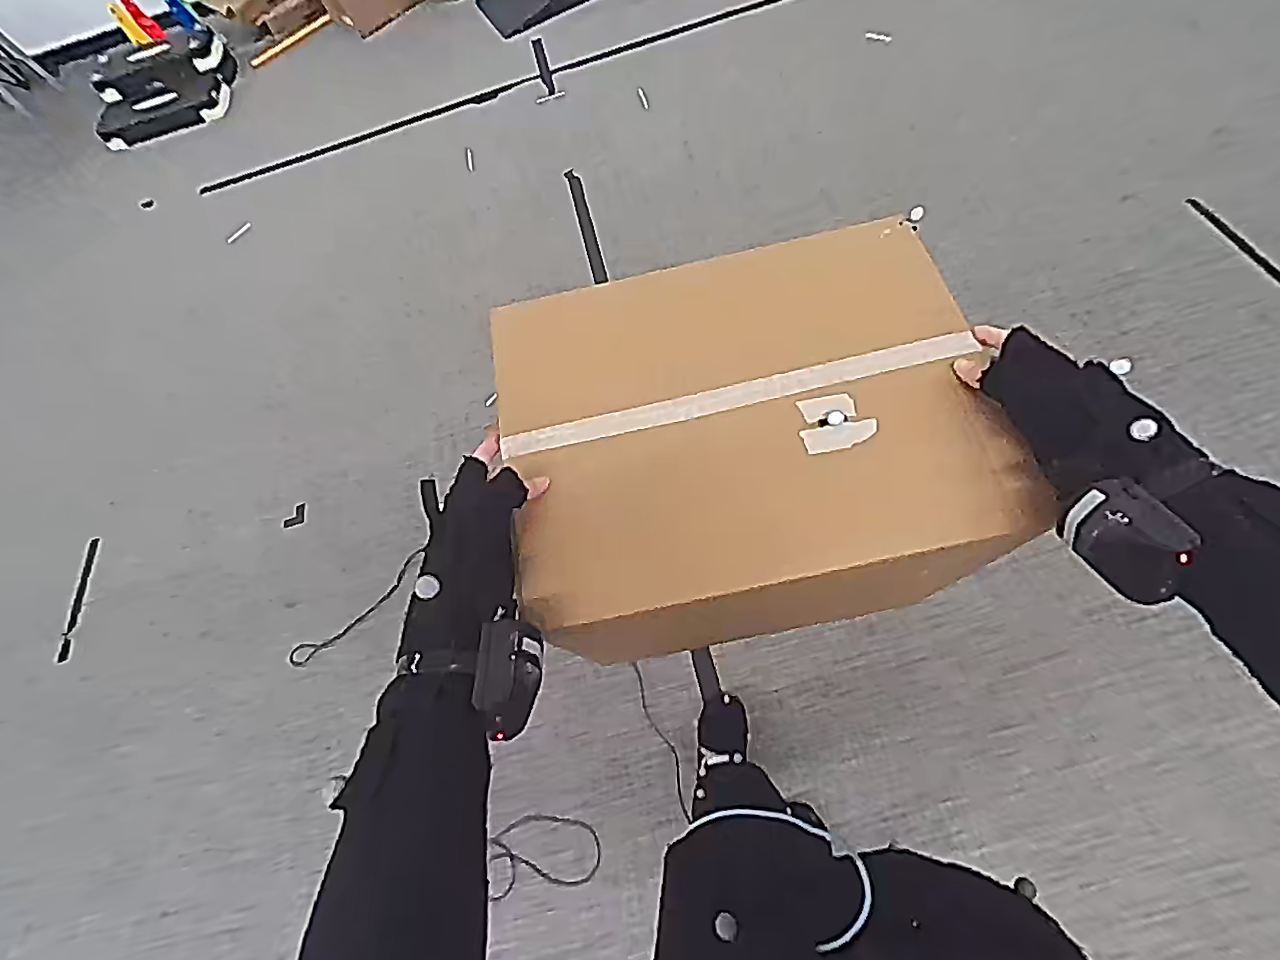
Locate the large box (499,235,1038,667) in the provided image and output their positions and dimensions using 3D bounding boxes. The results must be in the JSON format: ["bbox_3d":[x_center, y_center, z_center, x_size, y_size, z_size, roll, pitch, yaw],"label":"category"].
[{"bbox_3d":[0.095,-0.002,0.607,0.408,0.320,0.320,-13,66,1],"label":"large box"}]
